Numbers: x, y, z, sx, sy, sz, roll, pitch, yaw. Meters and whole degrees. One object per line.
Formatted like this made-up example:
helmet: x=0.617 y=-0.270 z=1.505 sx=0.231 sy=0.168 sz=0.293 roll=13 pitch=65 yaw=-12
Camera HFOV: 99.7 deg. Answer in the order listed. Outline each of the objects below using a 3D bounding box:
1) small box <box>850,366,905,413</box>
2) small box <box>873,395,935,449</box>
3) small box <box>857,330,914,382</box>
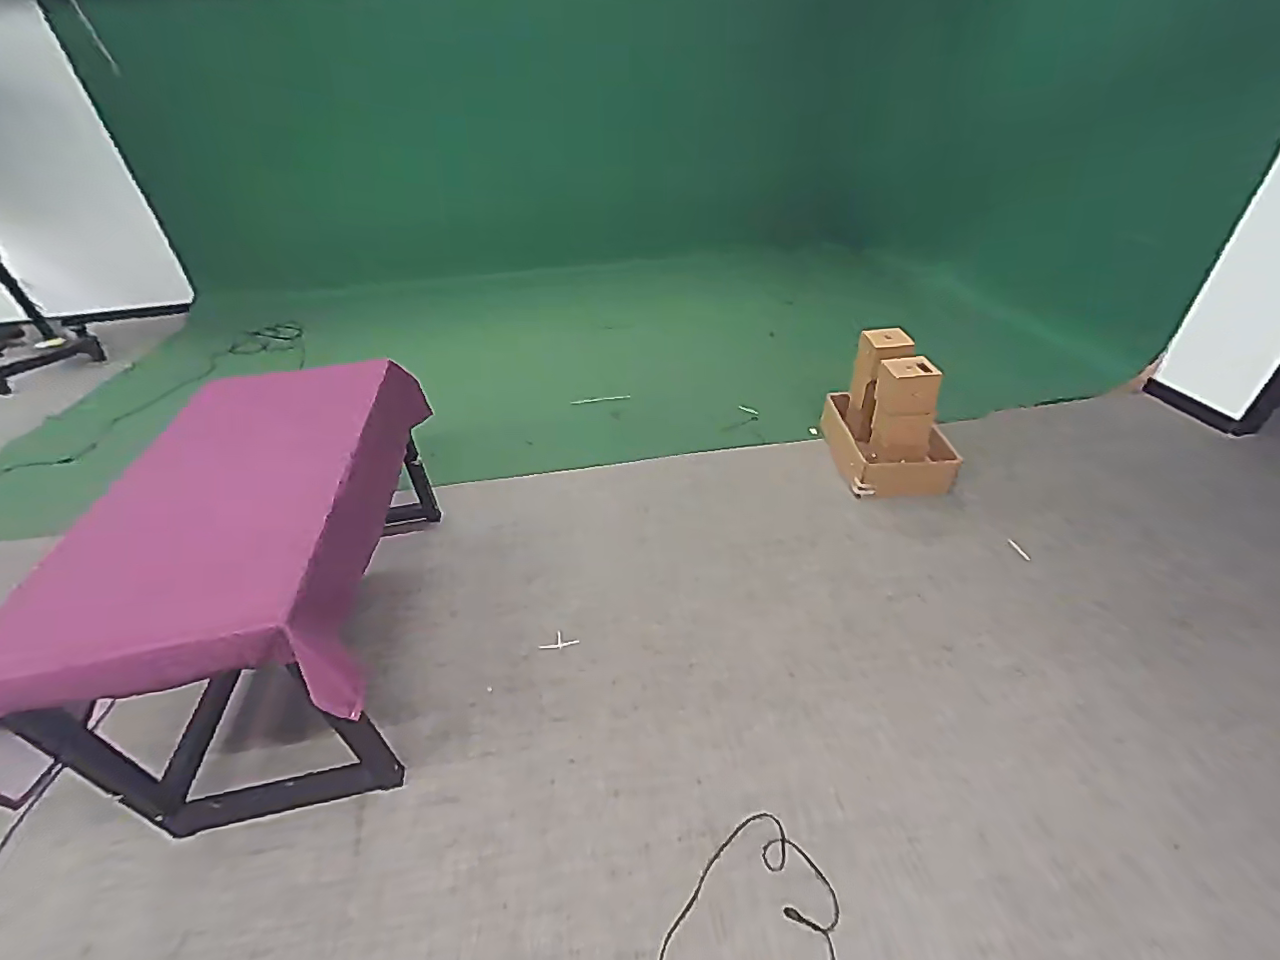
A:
small box: x=1.092 y=-0.423 z=2.500 sx=0.179 sy=0.176 sz=0.168 roll=-4 pitch=38 yaw=2
small box: x=1.091 y=-0.238 z=2.256 sx=0.179 sy=0.176 sz=0.168 roll=-3 pitch=37 yaw=1
small box: x=1.077 y=-0.543 z=2.387 sx=0.168 sy=0.176 sz=0.179 roll=-4 pitch=38 yaw=1
